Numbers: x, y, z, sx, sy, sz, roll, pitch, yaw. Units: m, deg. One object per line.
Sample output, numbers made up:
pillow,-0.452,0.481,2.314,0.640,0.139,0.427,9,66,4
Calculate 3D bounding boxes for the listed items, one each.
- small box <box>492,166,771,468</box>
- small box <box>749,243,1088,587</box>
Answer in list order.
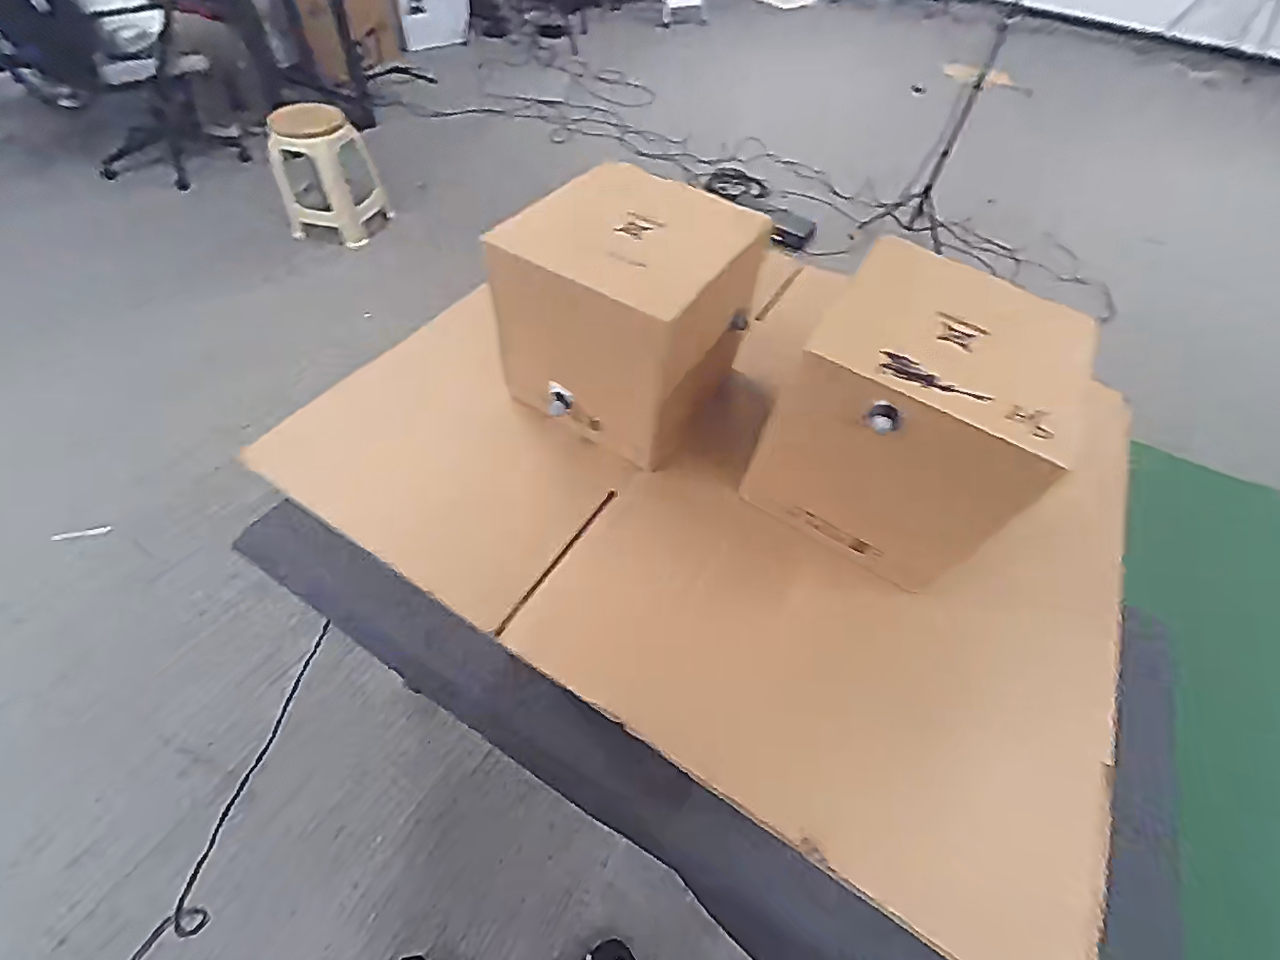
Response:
small box,-0.007,-0.147,0.496,0.168,0.176,0.179,28,58,16
small box,0.207,-0.050,0.434,0.168,0.176,0.179,30,56,16
